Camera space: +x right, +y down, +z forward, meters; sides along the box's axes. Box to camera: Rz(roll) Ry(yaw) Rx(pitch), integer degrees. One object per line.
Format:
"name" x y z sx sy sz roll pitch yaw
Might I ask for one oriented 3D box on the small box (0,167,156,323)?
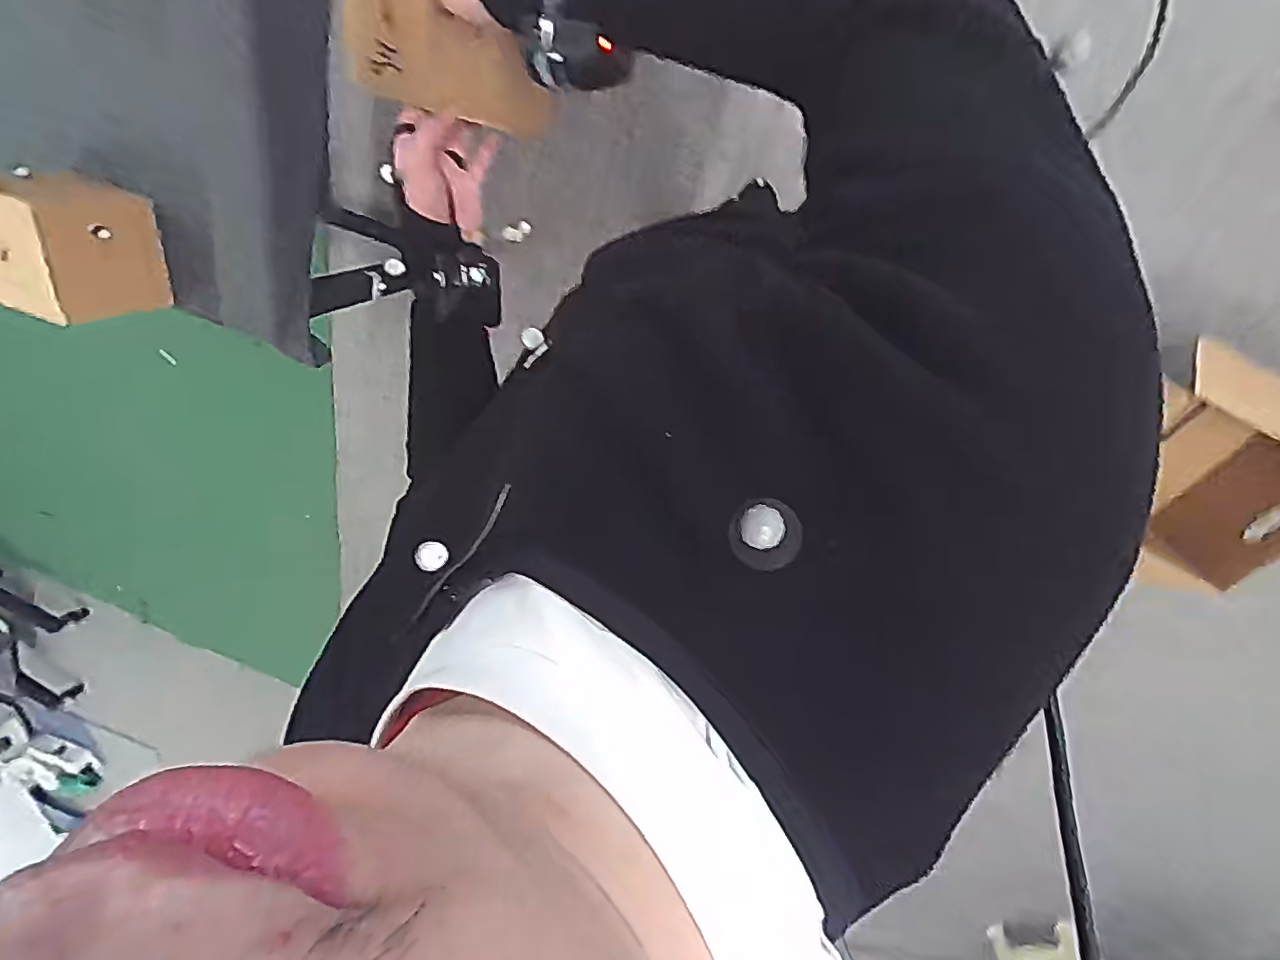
"small box" -0.903 -0.365 0.825 0.168 0.176 0.179 19 122 6

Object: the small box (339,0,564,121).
"small box" -0.175 -0.470 0.489 0.179 0.176 0.168 -4 146 -27
